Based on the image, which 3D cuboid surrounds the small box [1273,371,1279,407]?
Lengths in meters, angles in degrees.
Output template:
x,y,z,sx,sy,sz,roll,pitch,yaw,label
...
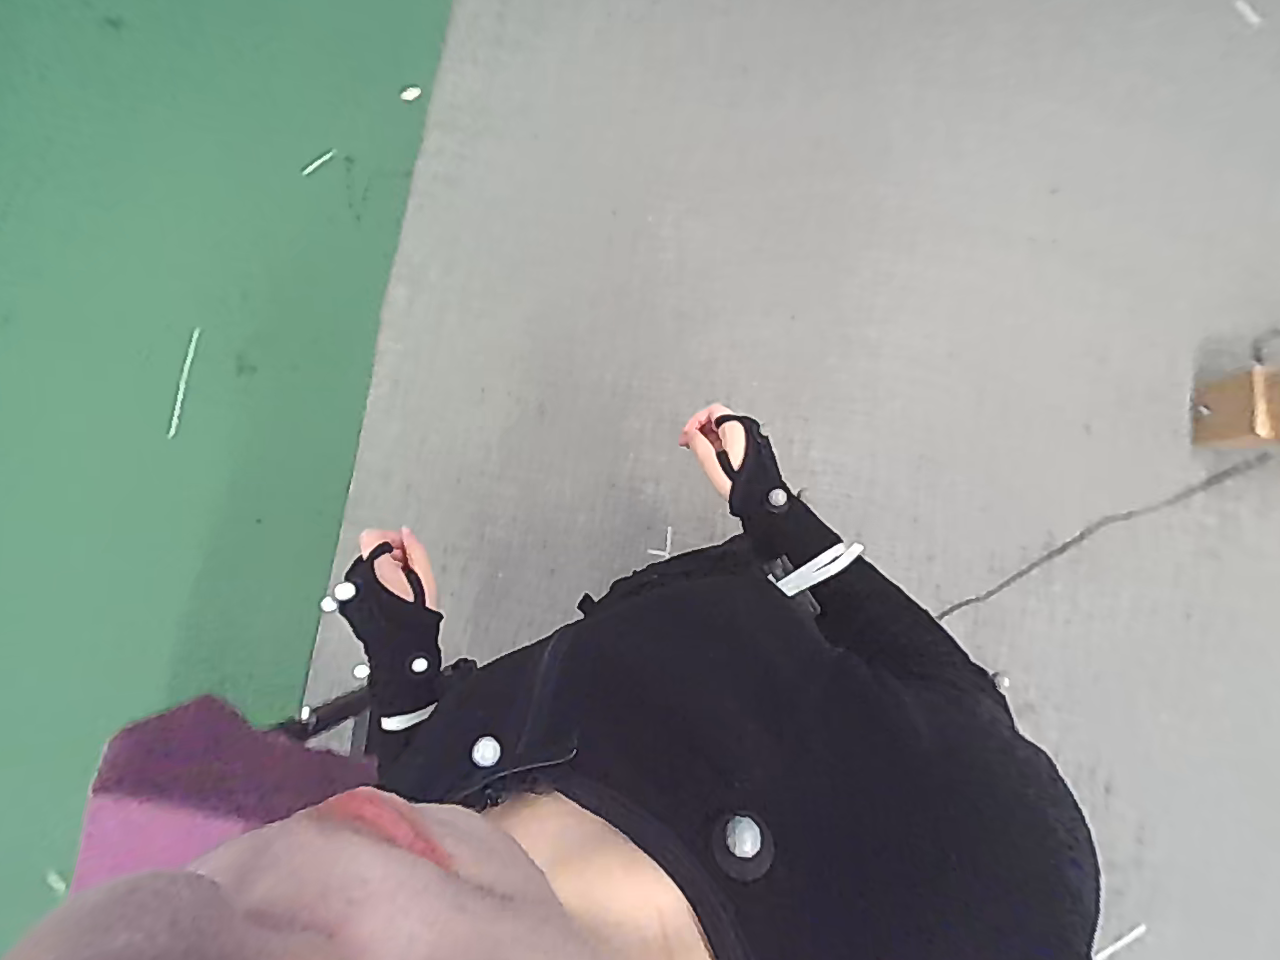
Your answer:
x,y,z,sx,sy,sz,roll,pitch,yaw,label
1.470,-0.167,1.096,0.168,0.176,0.179,-5,82,8,small box
